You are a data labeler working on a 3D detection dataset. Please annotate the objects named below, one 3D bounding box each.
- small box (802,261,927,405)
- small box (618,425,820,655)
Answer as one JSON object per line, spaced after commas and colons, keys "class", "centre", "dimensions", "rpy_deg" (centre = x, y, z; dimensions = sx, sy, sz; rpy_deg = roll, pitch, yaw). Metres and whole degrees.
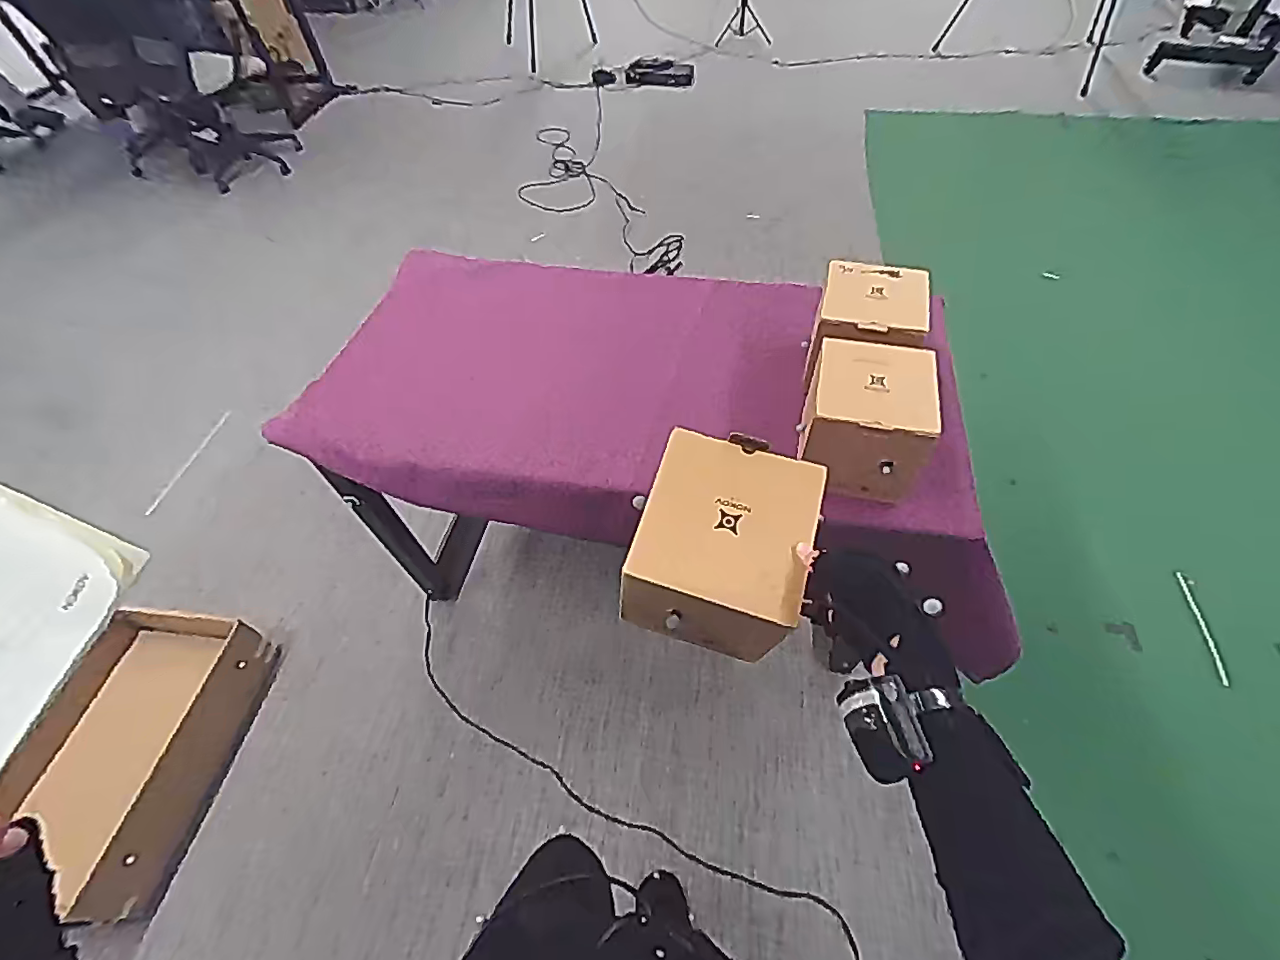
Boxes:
{"class": "small box", "centre": [0.392, -0.258, 0.961], "dimensions": [0.168, 0.176, 0.179], "rpy_deg": [13, 56, 12]}
{"class": "small box", "centre": [0.081, 0.074, 0.599], "dimensions": [0.168, 0.176, 0.179], "rpy_deg": [17, 59, 7]}
